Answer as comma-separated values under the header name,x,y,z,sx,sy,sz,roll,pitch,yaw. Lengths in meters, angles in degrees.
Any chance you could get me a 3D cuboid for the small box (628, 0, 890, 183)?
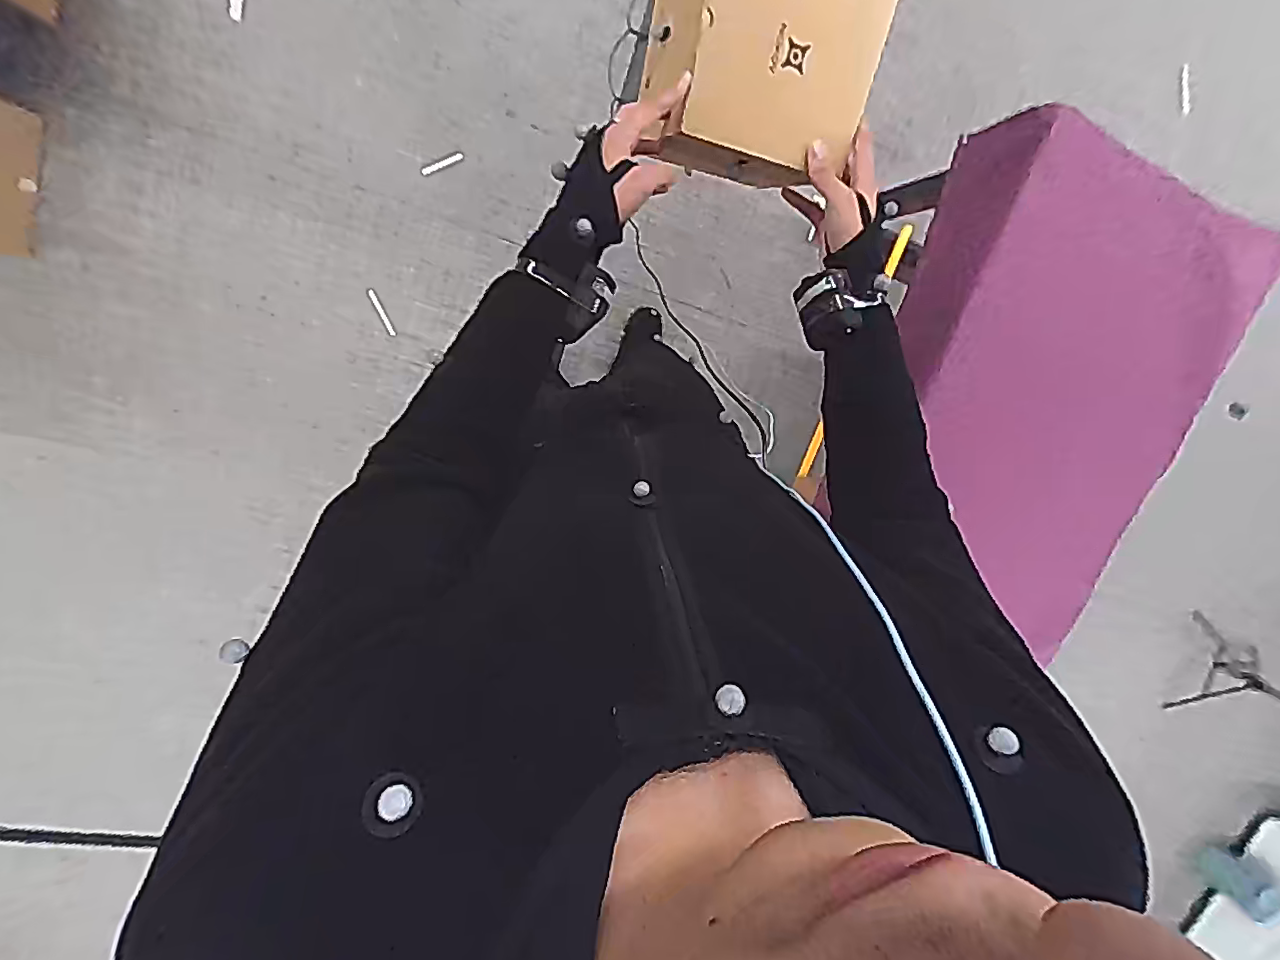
name,x,y,z,sx,sy,sz,roll,pitch,yaw
small box,0.102,-0.402,0.531,0.179,0.176,0.168,4,115,-18
